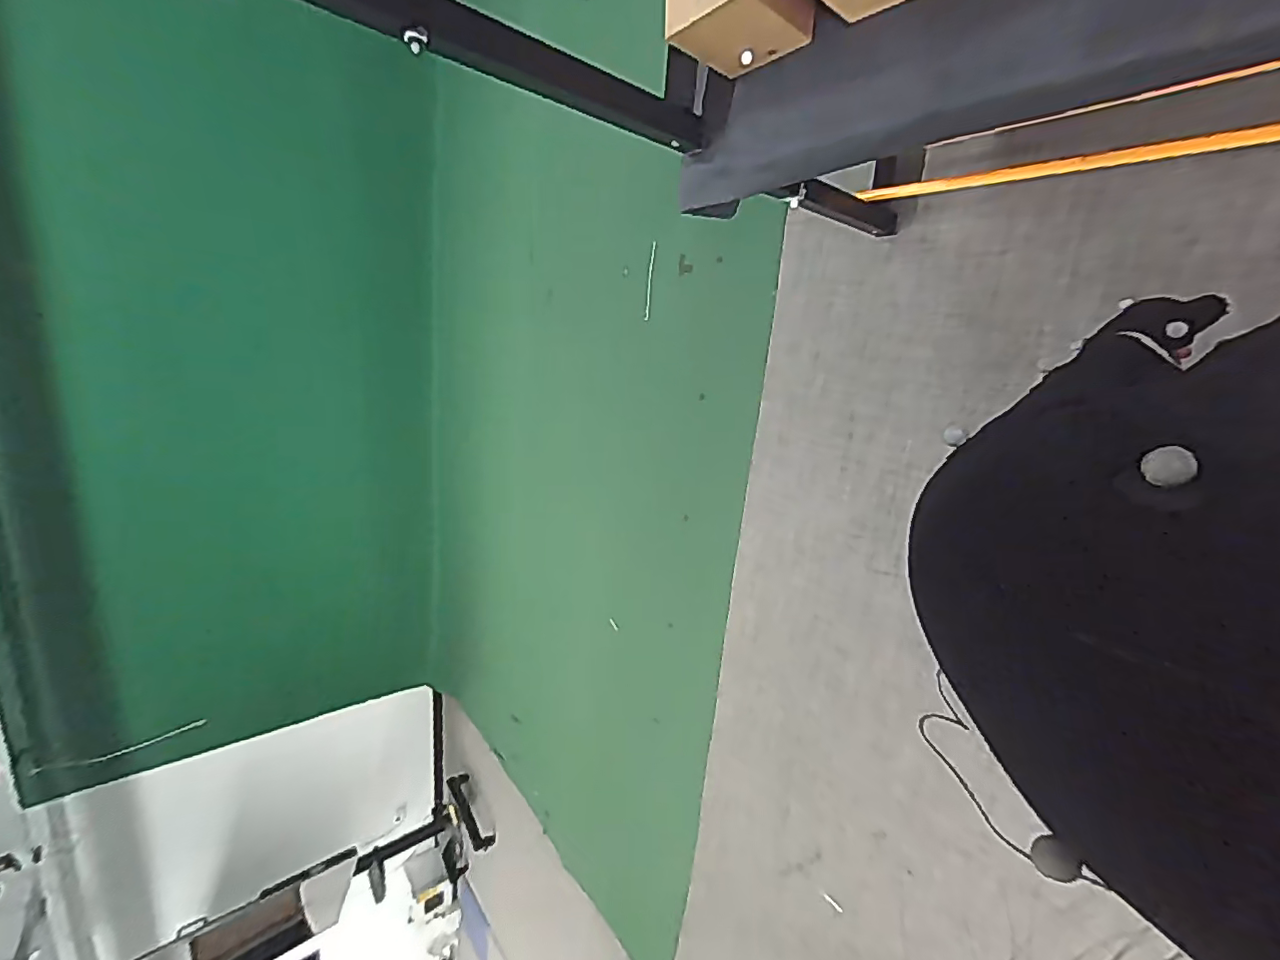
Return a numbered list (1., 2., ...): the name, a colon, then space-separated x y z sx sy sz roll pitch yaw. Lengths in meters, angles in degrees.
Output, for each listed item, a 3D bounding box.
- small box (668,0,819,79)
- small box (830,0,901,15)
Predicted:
1. small box: 0.165 -0.769 0.832 0.168 0.176 0.179 17 108 49
2. small box: 0.310 -0.722 0.663 0.168 0.176 0.179 20 109 48
